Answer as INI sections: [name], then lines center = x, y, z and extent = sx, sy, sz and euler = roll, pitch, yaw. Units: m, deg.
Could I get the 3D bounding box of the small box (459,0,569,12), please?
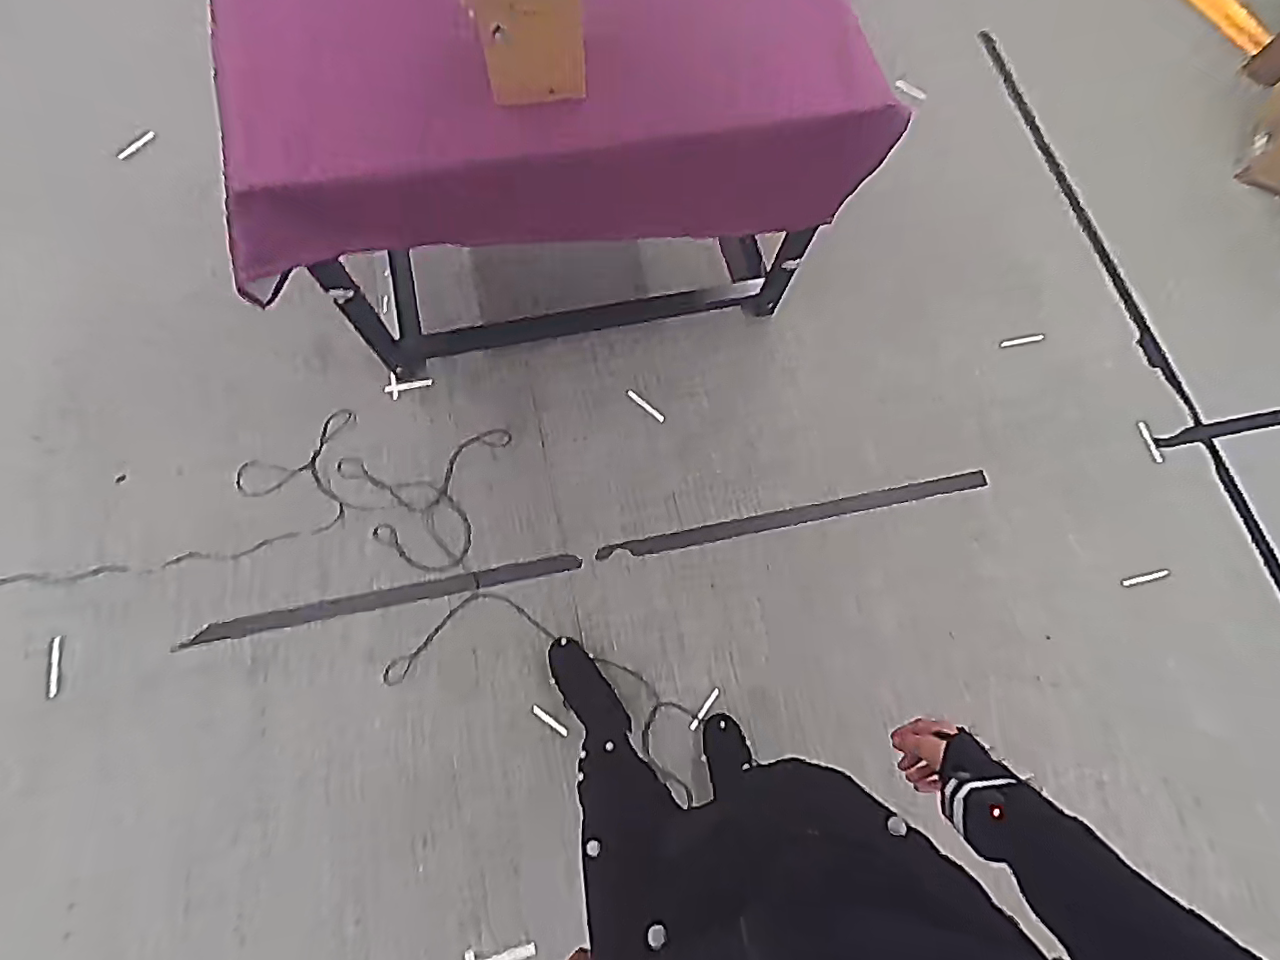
[small box]
center = -0.198, -0.815, 0.772
extent = 0.179, 0.176, 0.168
euler = -10, 75, -7
